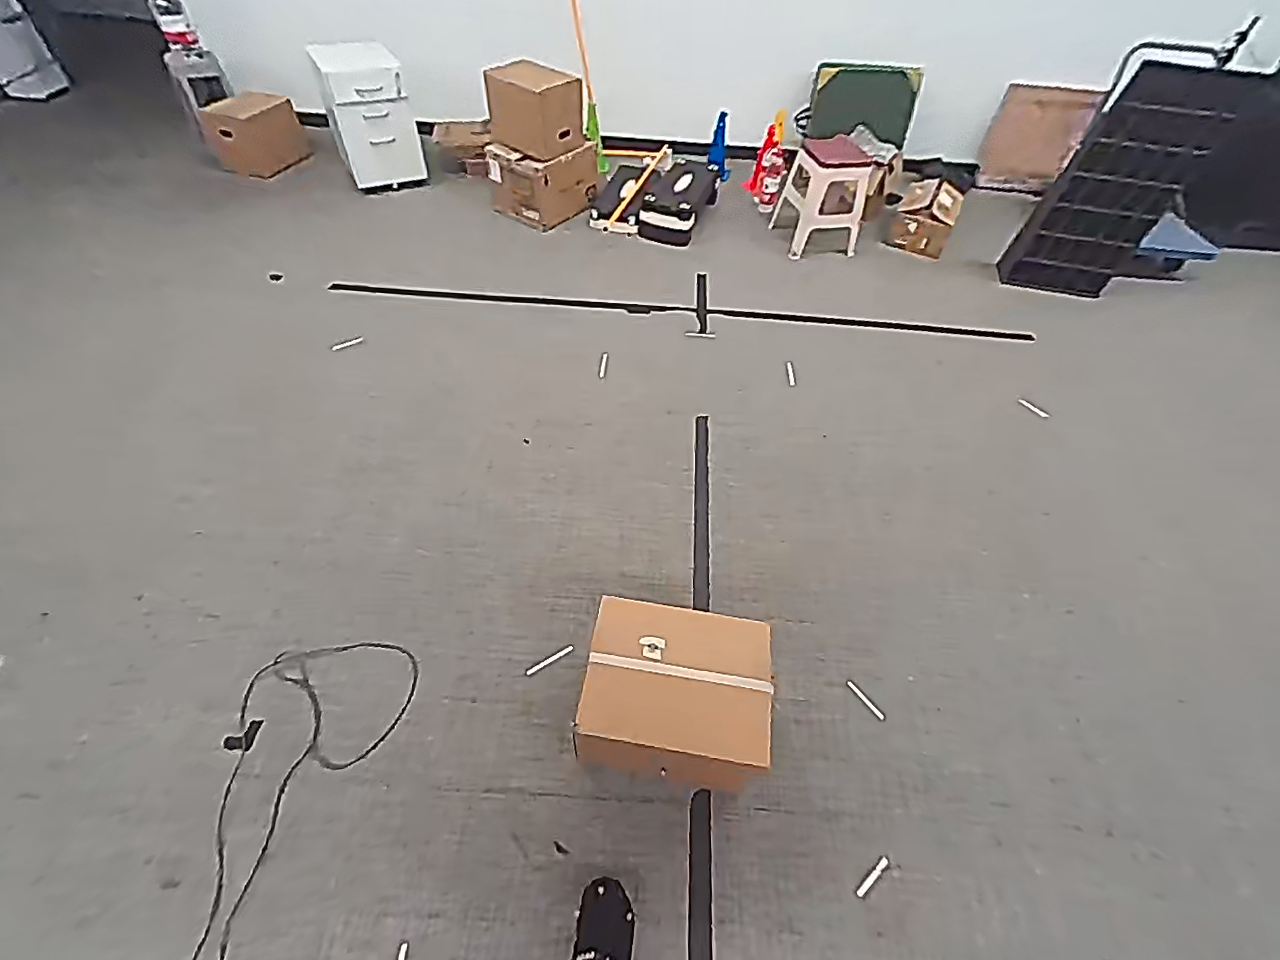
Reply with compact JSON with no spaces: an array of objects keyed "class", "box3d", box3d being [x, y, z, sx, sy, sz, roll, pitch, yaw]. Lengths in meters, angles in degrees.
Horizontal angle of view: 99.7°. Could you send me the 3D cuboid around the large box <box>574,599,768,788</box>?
[{"class":"large box","box3d":[0.077,0.521,1.305,0.408,0.320,0.320,9,51,4]}]
